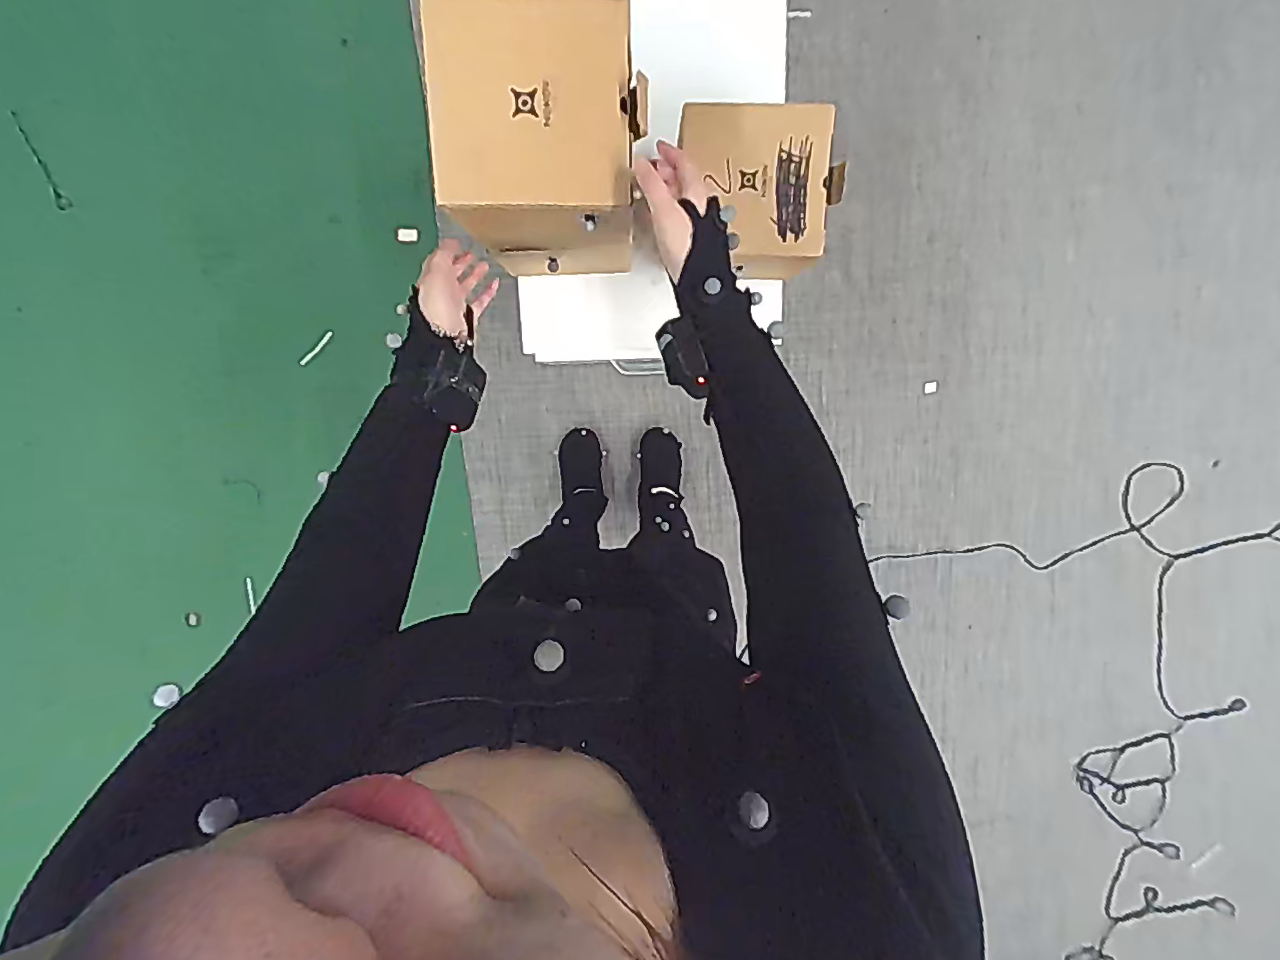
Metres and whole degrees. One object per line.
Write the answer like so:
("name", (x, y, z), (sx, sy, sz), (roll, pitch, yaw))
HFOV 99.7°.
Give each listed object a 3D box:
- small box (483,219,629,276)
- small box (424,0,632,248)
("small box", (-0.104, -0.369, 0.706), (0.179, 0.176, 0.168), (-3, 101, -2))
("small box", (-0.098, -0.340, 0.545), (0.179, 0.176, 0.168), (-1, 100, -4))
